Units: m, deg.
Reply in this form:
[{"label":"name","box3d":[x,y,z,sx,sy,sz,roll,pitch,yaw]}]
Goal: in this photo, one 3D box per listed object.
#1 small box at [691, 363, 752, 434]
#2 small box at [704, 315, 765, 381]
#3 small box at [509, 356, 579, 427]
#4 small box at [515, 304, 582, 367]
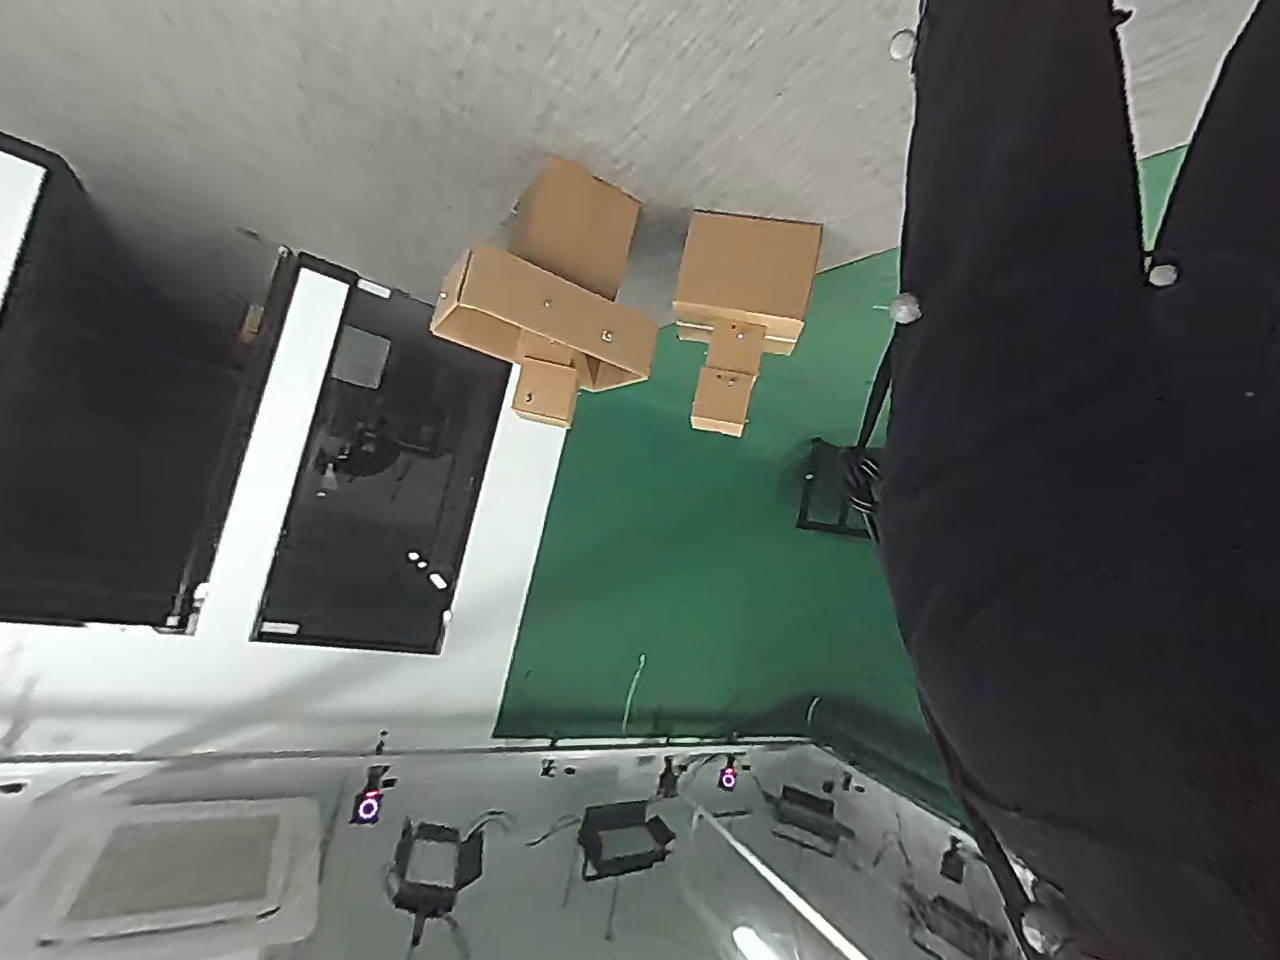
[{"label":"small box","box3d":[0.262,-0.261,1.747,0.168,0.176,0.179,11,175,8]},{"label":"small box","box3d":[0.303,-0.417,1.766,0.168,0.176,0.179,12,174,6]},{"label":"small box","box3d":[-0.299,-0.282,1.718,0.179,0.176,0.168,12,175,-2]},{"label":"small box","box3d":[-0.288,-0.447,1.739,0.179,0.176,0.168,12,174,-1]}]
